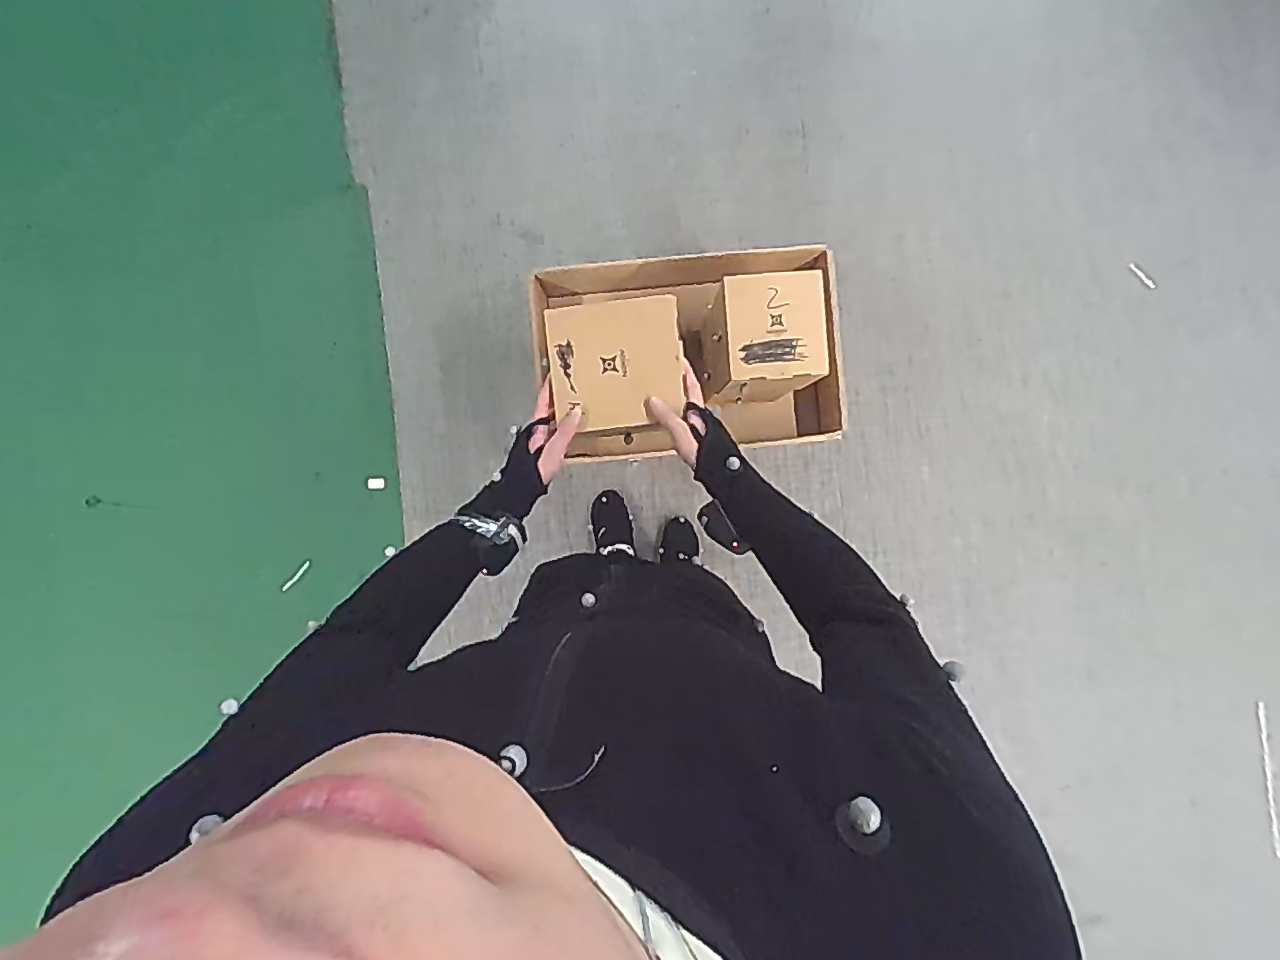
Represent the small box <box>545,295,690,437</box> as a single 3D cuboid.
[{"bbox_3d":[-0.030,-0.154,0.778,0.179,0.176,0.168,-6,91,1],"label":"small box"}]
